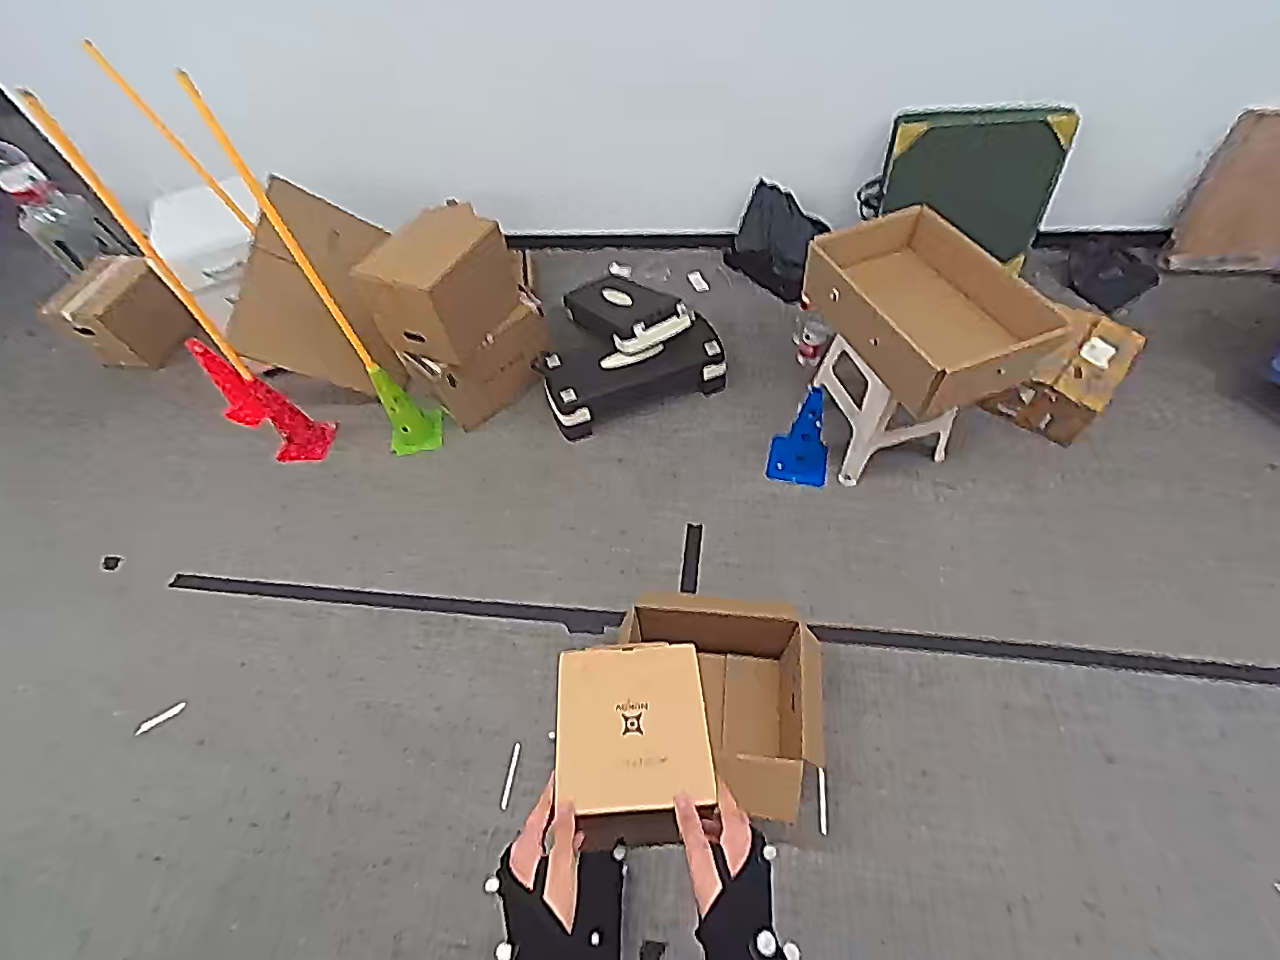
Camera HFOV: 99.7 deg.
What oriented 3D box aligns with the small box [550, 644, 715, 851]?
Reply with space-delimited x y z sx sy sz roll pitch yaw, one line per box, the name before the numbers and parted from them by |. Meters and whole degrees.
small box | -0.013 0.317 0.644 0.168 0.176 0.179 -1 45 -3
